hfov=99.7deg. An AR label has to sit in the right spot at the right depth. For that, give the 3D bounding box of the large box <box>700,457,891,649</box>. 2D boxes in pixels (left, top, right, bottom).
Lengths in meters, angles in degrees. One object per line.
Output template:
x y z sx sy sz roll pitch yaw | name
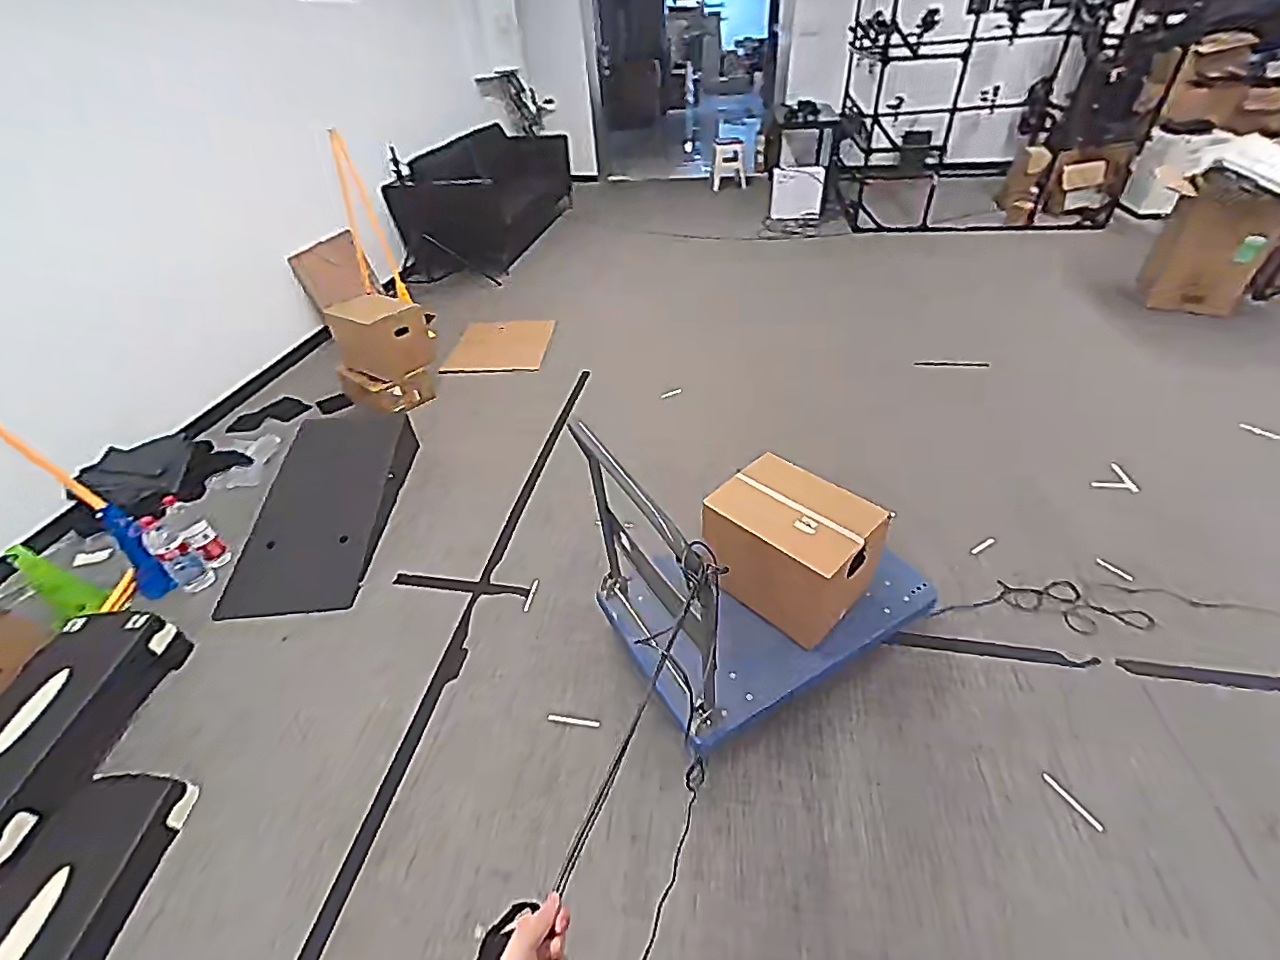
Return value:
0.425 0.197 1.561 0.320 0.320 0.408 -34 49 -30 | large box
